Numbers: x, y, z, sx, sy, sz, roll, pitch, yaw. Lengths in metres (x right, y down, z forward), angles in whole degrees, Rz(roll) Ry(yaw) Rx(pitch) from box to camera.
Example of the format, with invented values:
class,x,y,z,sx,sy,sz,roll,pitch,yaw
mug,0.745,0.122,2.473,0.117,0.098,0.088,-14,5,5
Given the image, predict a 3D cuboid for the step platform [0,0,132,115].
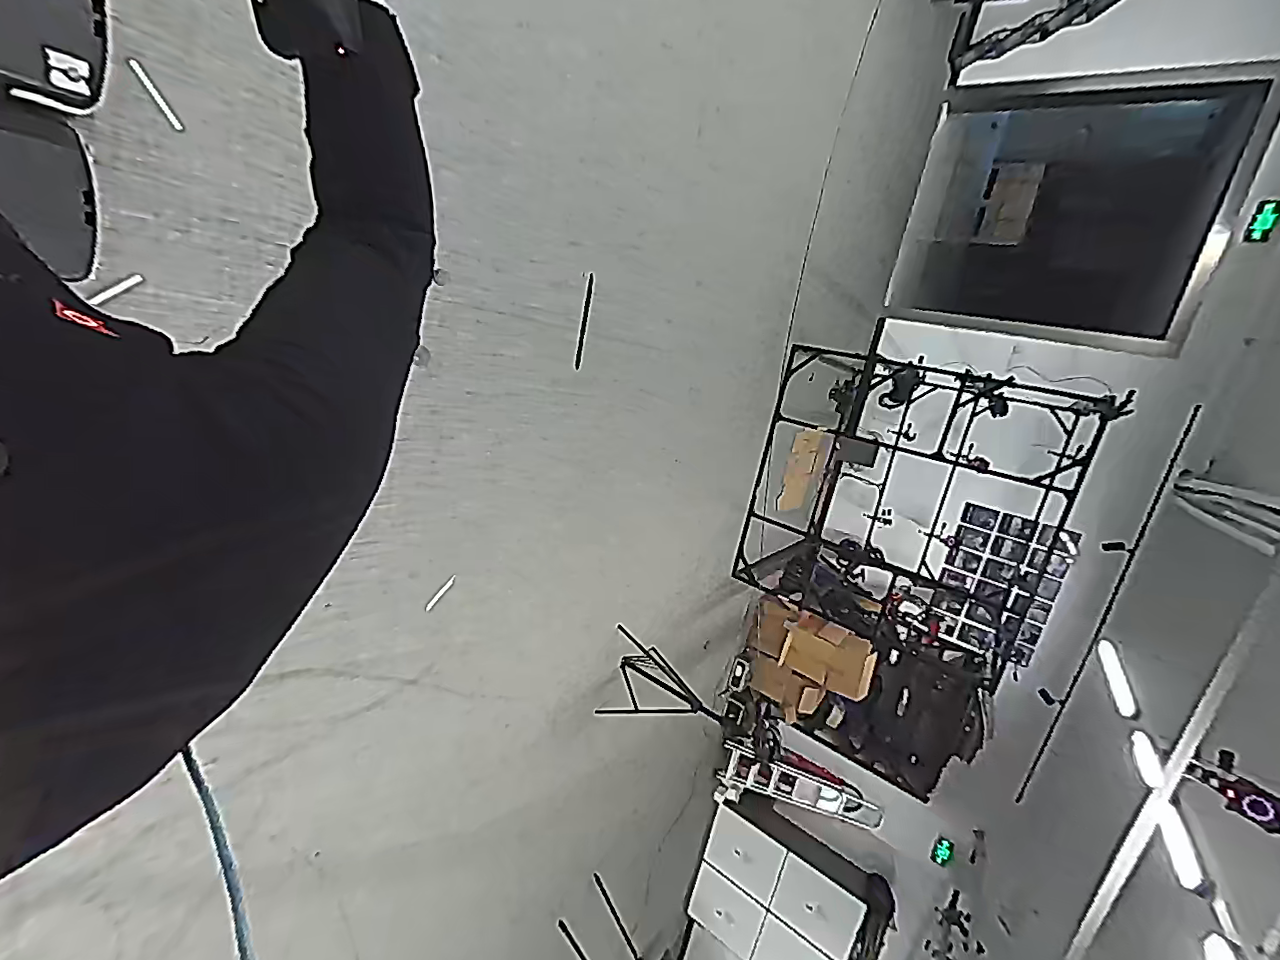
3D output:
class,x,y,z,sx,sy,sz,roll,pitch,yaw
step platform,-1.123,-0.761,0.696,0.684,0.204,0.286,-12,118,-55
